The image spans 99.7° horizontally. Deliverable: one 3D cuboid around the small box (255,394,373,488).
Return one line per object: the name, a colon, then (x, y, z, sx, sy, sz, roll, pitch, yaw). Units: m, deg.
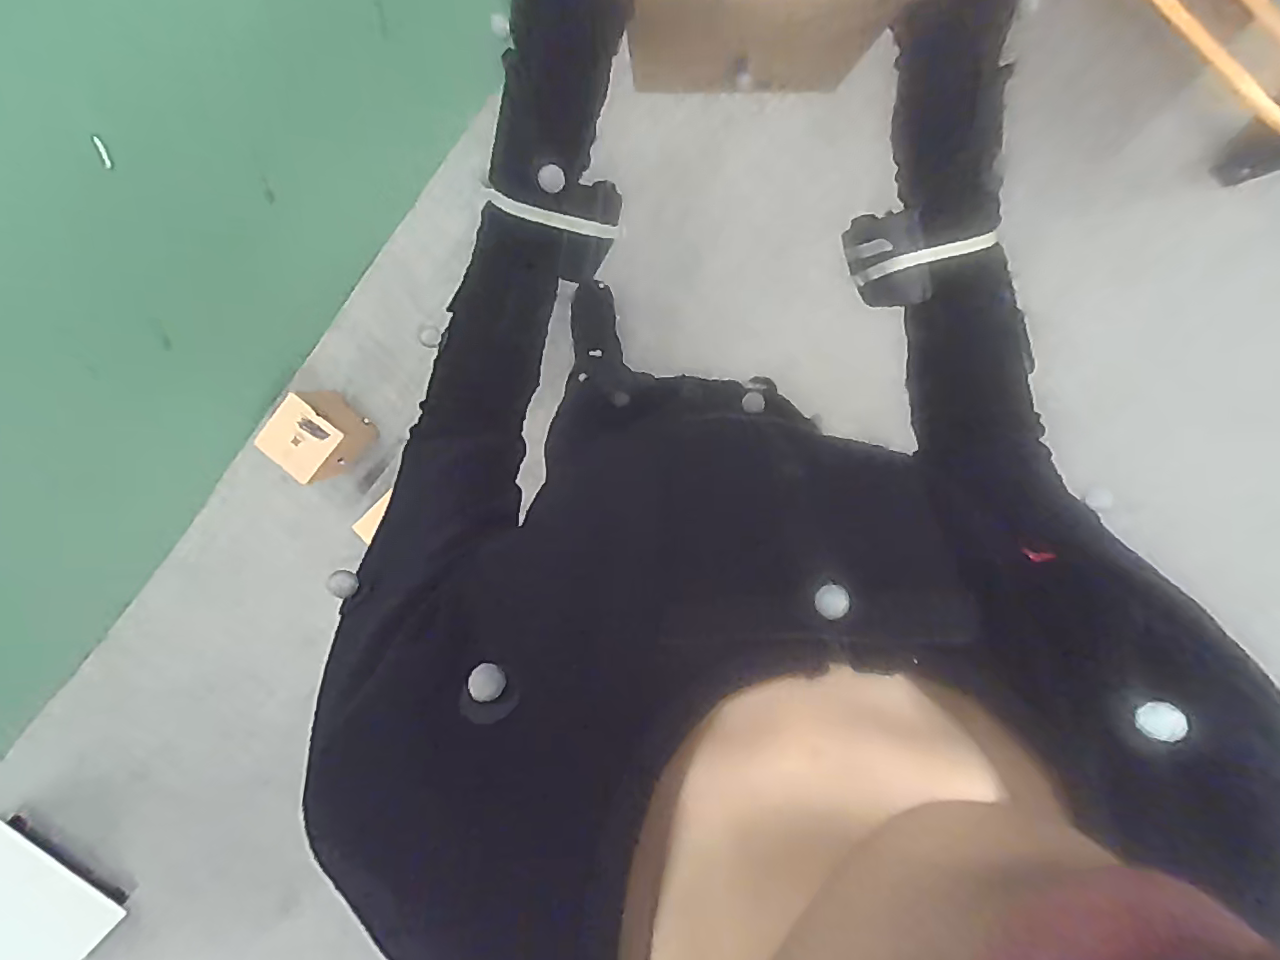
small box: (-0.831, -0.110, 1.403, 0.168, 0.176, 0.179, 42, 100, -5)
